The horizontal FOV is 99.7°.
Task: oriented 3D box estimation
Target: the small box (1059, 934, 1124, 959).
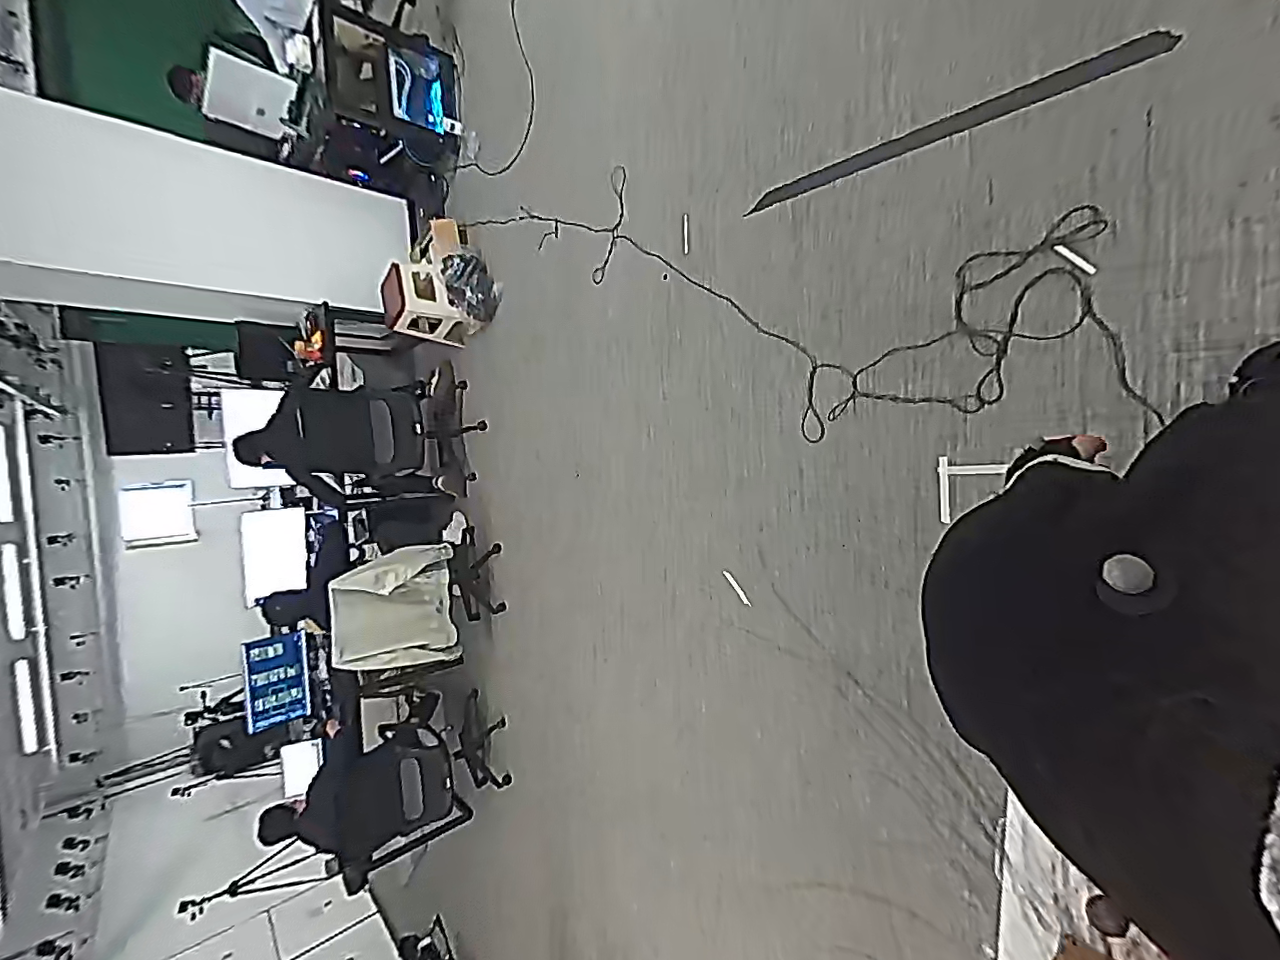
[{"bbox_3d":[0.622,0.747,0.685,0.168,0.176,0.179,5,98,48],"label":"small box"}]
